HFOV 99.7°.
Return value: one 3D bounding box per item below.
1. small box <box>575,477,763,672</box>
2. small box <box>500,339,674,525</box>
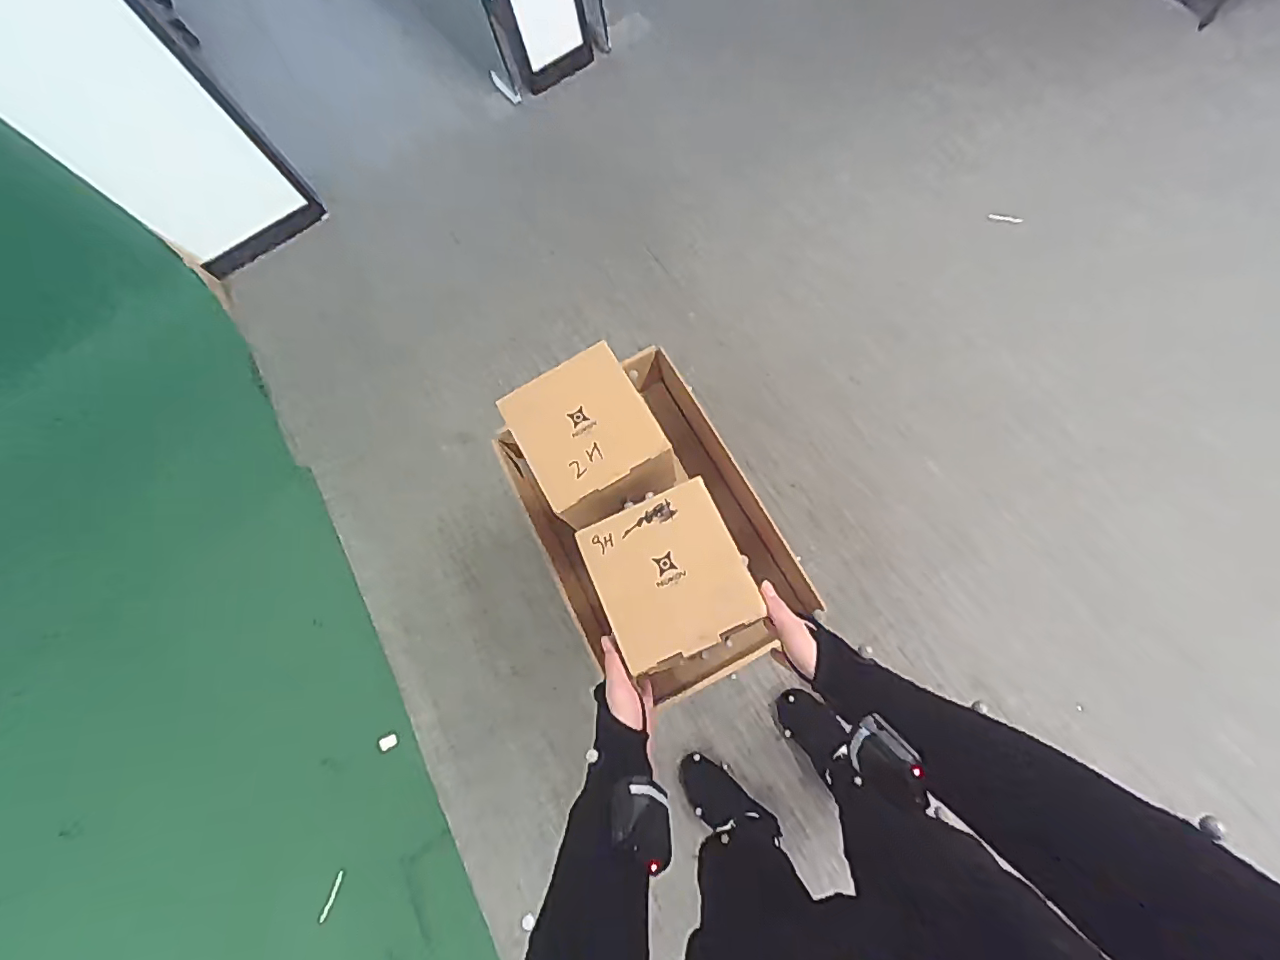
[{"bbox_3d":[0.039,0.123,0.684,0.168,0.176,0.179,-24,71,-1],"label":"small box"},{"bbox_3d":[-0.065,-0.055,0.756,0.168,0.176,0.179,-30,74,-2],"label":"small box"}]
